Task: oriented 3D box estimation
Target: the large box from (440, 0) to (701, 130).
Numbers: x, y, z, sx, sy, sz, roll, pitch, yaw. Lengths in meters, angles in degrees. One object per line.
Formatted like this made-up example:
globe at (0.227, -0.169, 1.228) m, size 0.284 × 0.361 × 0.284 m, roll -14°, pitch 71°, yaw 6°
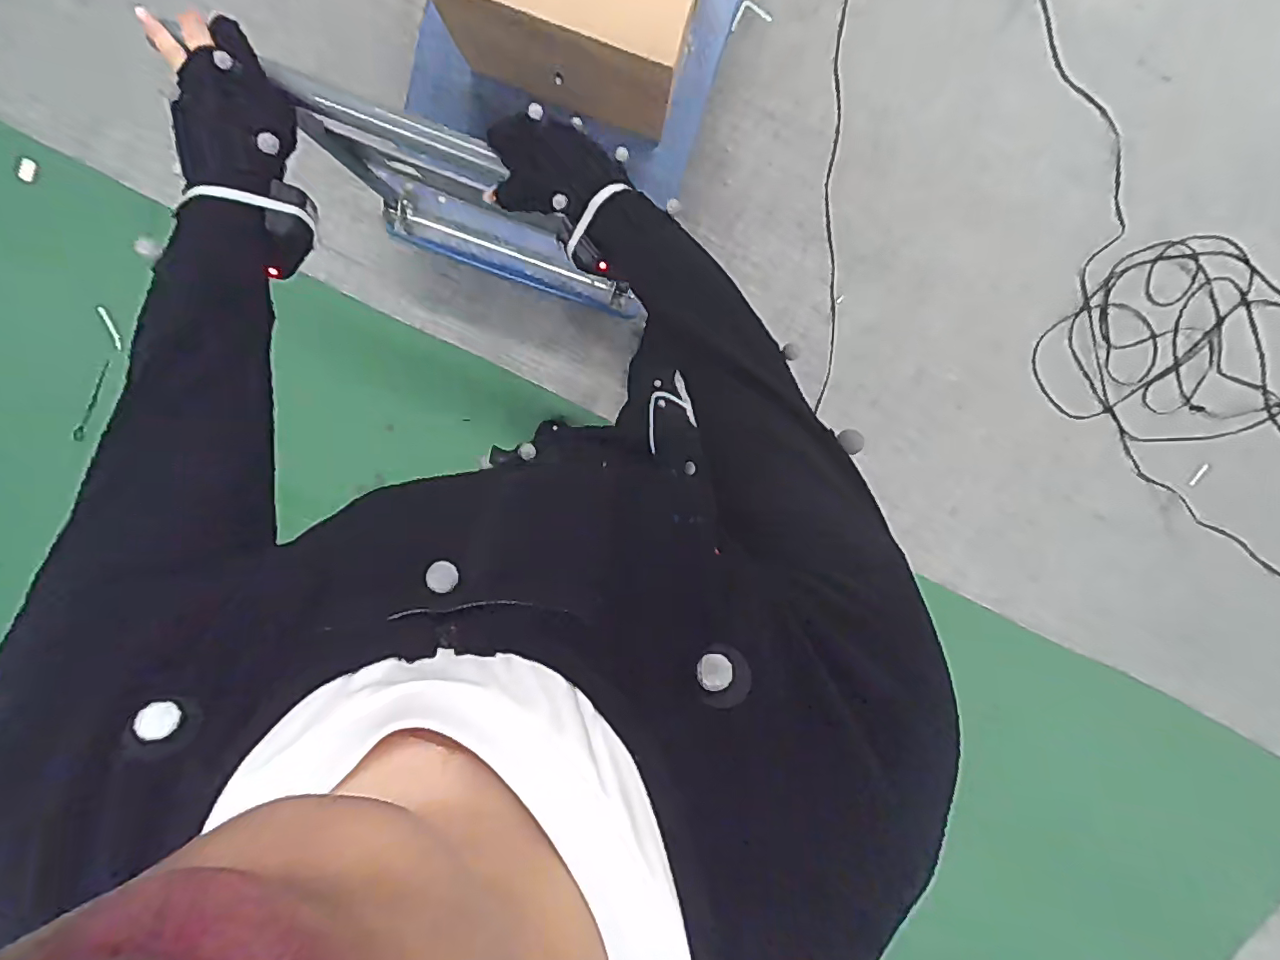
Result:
large box at (-0.091, -0.875, 0.927) m, size 0.408 × 0.320 × 0.320 m, roll 17°, pitch 103°, yaw -6°
